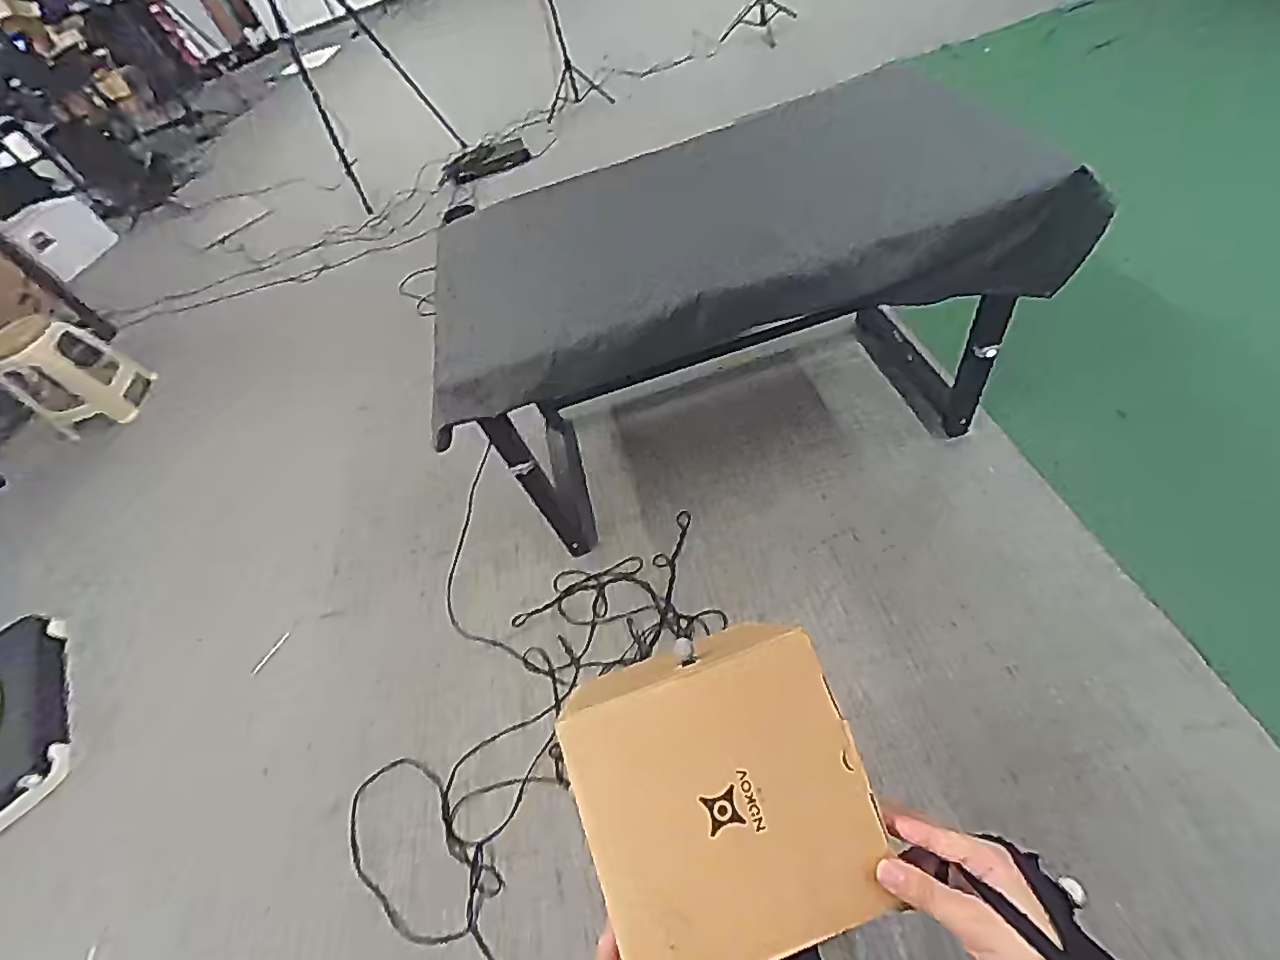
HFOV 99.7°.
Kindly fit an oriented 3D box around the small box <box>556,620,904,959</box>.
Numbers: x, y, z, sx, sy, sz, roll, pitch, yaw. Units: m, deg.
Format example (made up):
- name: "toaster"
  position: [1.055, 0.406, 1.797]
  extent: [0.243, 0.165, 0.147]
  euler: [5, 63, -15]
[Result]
- name: "small box"
  position: [0.051, 0.214, 0.409]
  extent: [0.179, 0.176, 0.168]
  euler: [-18, 77, -6]
